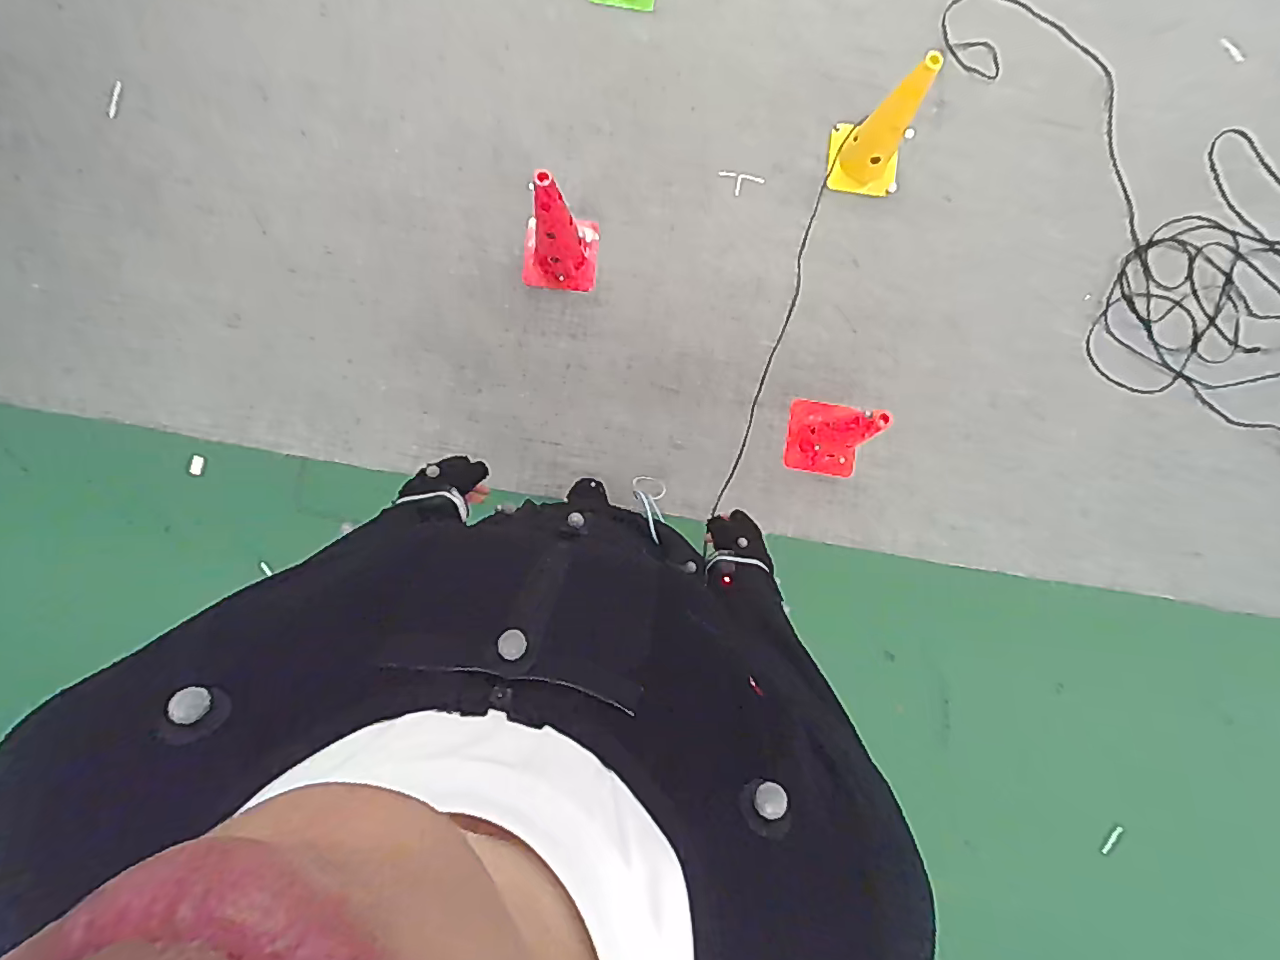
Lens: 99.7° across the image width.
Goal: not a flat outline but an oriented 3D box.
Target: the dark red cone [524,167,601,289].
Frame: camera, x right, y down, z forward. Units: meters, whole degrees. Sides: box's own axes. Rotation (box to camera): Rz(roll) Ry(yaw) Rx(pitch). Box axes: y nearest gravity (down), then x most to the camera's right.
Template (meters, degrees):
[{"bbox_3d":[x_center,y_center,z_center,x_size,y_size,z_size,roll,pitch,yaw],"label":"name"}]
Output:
[{"bbox_3d":[-0.205,-0.632,1.320,0.202,0.394,0.201,4,88,-2],"label":"dark red cone"}]

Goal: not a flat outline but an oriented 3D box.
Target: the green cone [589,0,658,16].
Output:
[{"bbox_3d":[-0.033,-1.459,1.394,0.202,0.368,0.200,8,87,-3],"label":"green cone"}]

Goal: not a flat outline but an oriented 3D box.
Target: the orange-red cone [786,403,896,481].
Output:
[{"bbox_3d":[0.524,-0.116,1.342,0.198,0.360,0.199,10,86,-2],"label":"orange-red cone"}]
